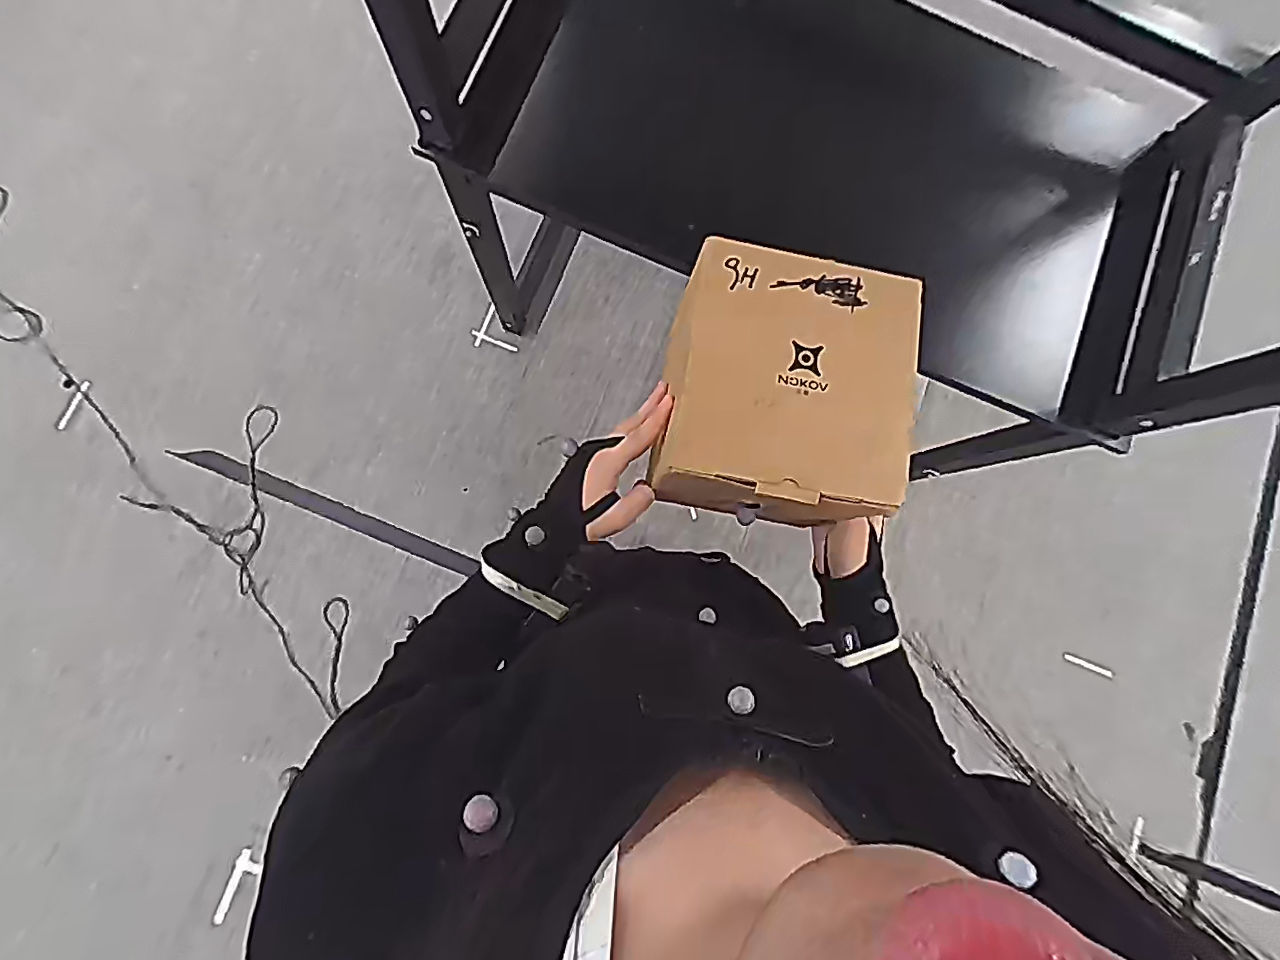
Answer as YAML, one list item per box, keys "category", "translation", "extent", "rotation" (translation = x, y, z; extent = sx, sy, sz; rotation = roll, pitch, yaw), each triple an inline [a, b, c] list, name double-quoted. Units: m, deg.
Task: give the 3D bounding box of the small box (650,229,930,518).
- category: "small box"
  translation: [0.107, -0.068, 0.451]
  extent: [0.168, 0.176, 0.179]
  rotation: [10, 81, -5]
